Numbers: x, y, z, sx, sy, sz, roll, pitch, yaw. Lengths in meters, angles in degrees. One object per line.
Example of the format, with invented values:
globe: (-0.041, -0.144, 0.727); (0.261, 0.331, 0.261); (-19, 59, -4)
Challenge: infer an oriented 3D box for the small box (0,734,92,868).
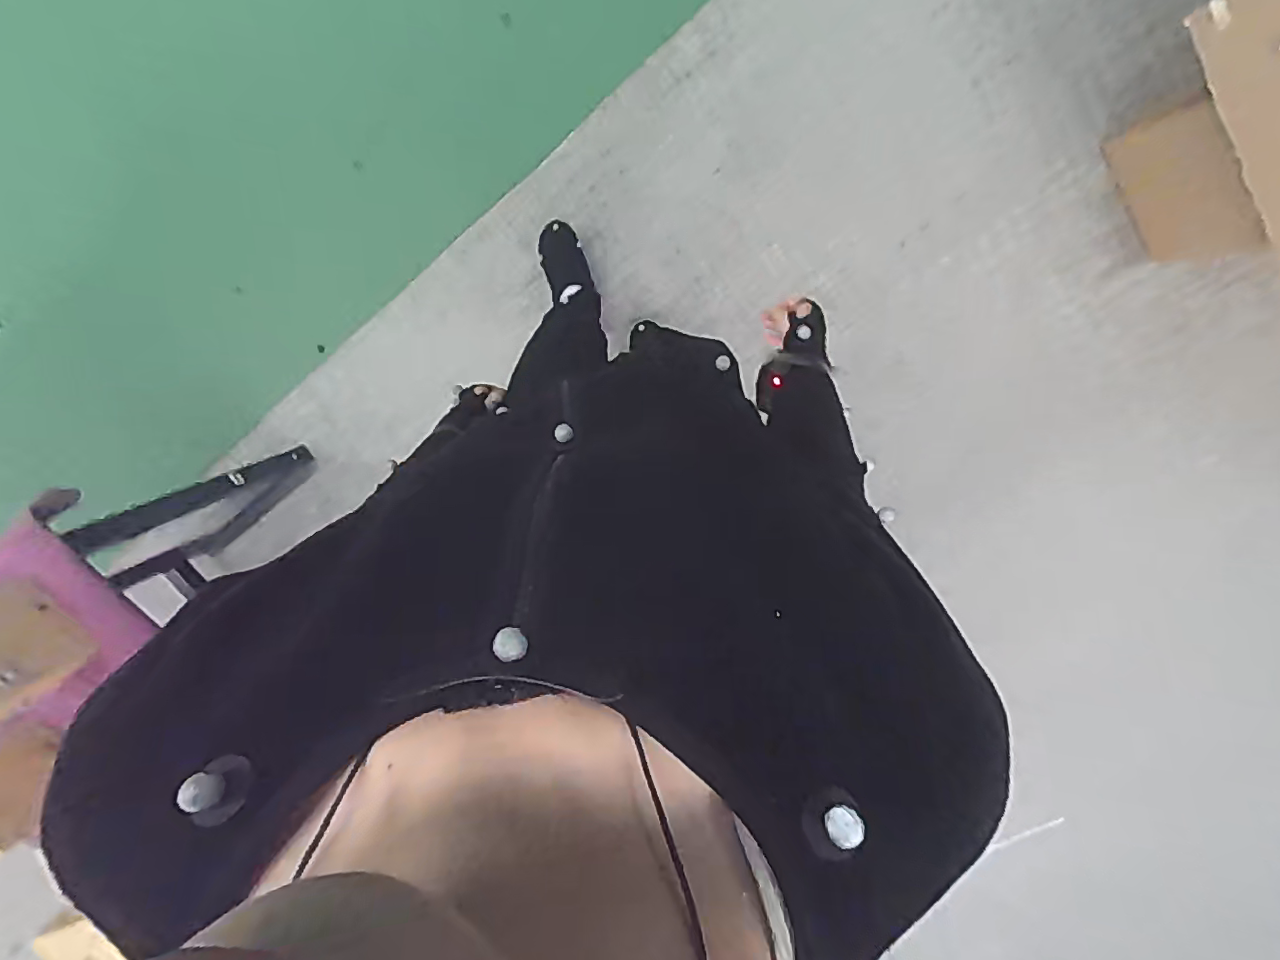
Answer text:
small box: (-1.170, 0.602, 0.980); (0.179, 0.176, 0.168); (-35, 100, 16)

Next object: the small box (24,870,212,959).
small box: (-0.982, 0.862, 1.042); (0.179, 0.176, 0.168); (-24, 103, 12)
